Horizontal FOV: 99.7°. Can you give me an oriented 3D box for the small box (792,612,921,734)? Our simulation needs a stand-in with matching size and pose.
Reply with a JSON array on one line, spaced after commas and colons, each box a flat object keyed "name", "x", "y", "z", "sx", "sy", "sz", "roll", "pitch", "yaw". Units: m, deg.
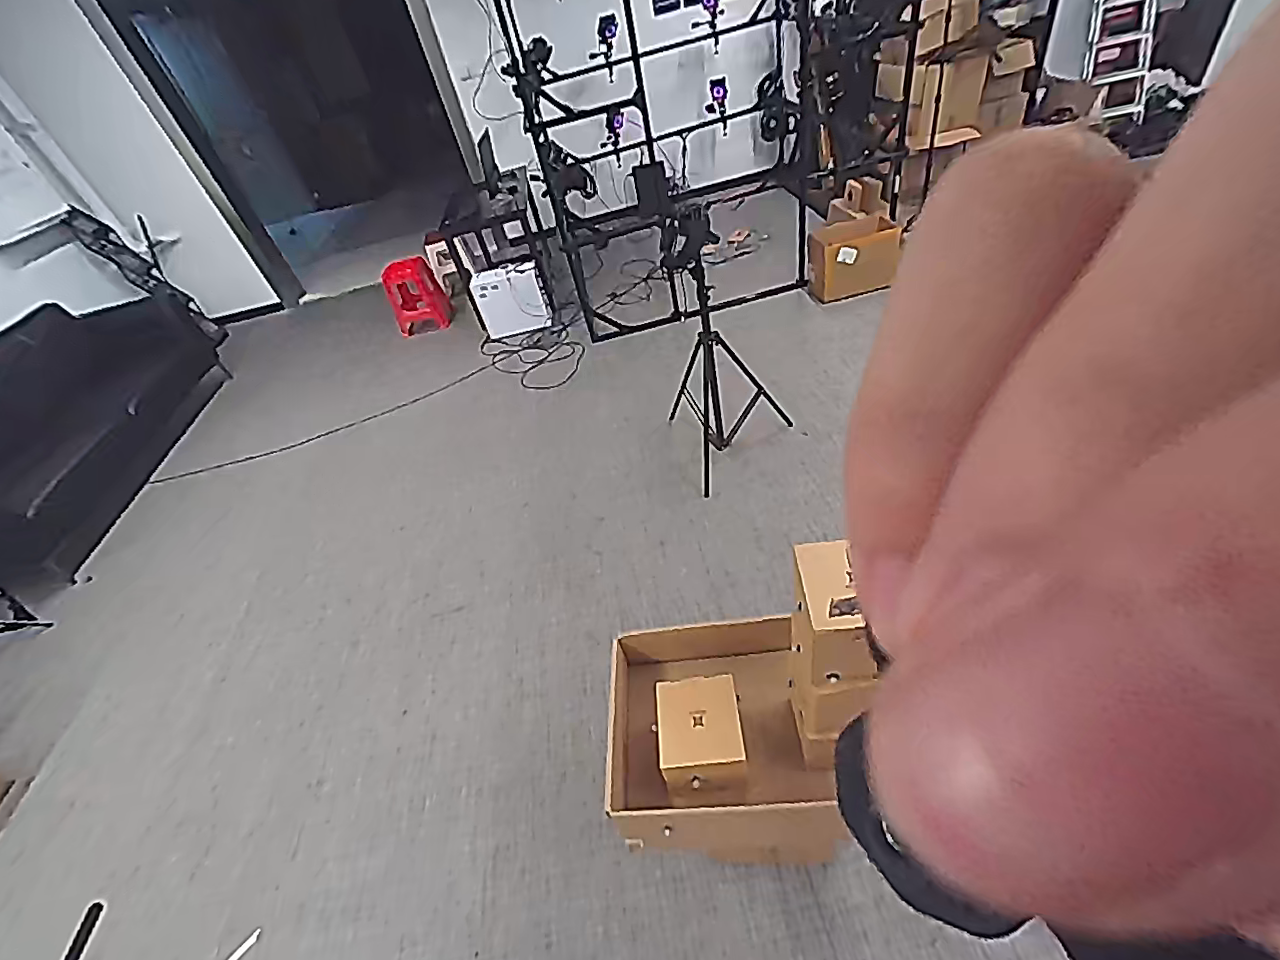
[{"name": "small box", "x": 0.387, "y": 0.350, "z": 1.003, "sx": 0.179, "sy": 0.176, "sz": 0.168, "roll": -9, "pitch": 41, "yaw": 5}]

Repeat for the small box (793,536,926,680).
[{"name": "small box", "x": 0.355, "y": 0.220, "z": 0.906, "sx": 0.168, "sy": 0.176, "sz": 0.179, "roll": -7, "pitch": 41, "yaw": 9}]

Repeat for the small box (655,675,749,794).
[{"name": "small box", "x": 0.130, "y": 0.535, "z": 1.126, "sx": 0.168, "sy": 0.176, "sz": 0.179, "roll": -9, "pitch": 41, "yaw": 6}]
